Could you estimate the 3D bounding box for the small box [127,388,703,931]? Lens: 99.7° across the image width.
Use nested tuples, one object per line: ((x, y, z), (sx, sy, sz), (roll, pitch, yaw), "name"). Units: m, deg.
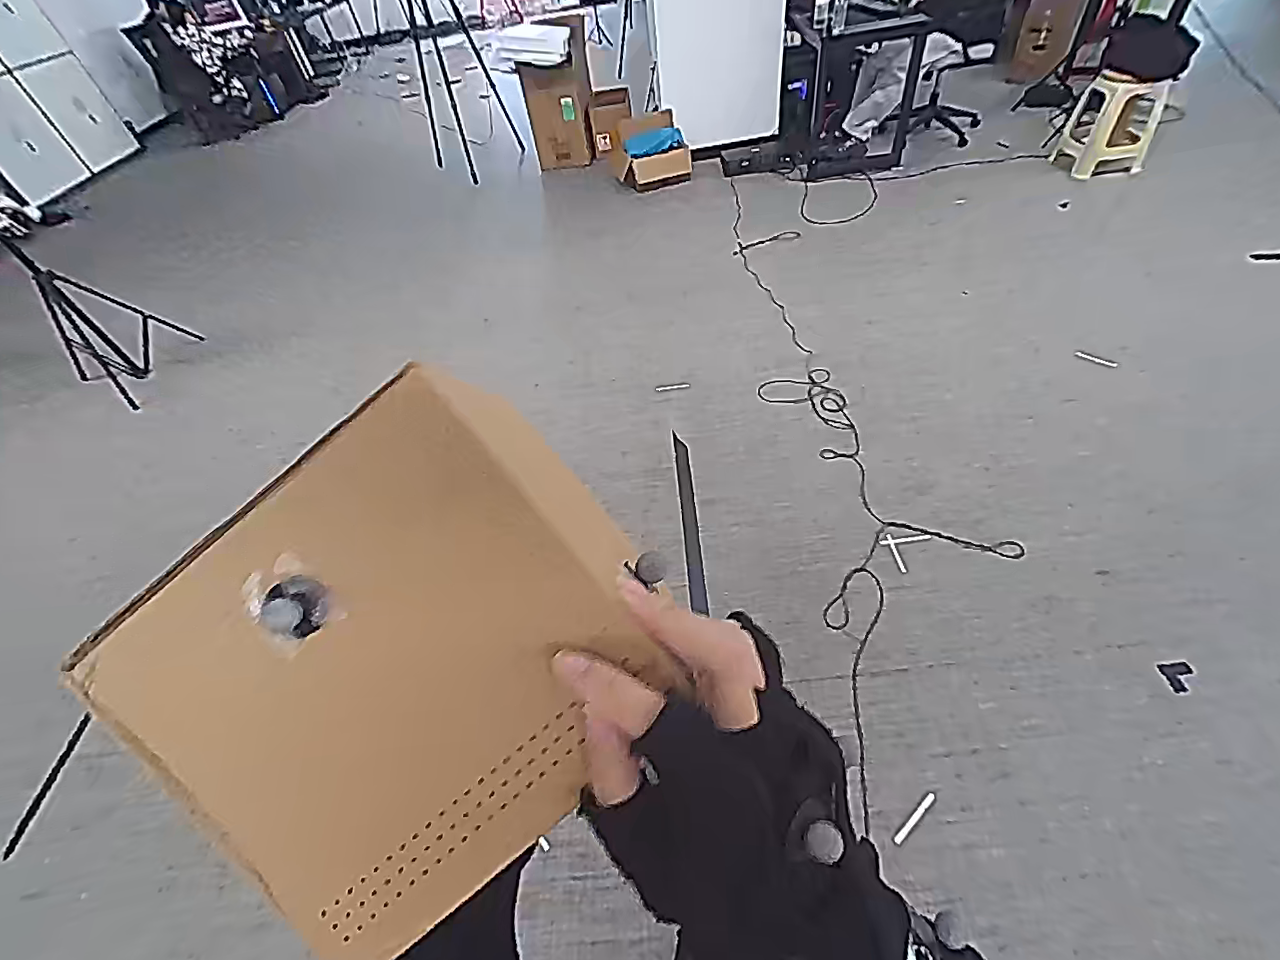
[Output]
((-0.091, 0.078, 0.297), (0.179, 0.168, 0.176), (-39, 93, -1), "small box")
